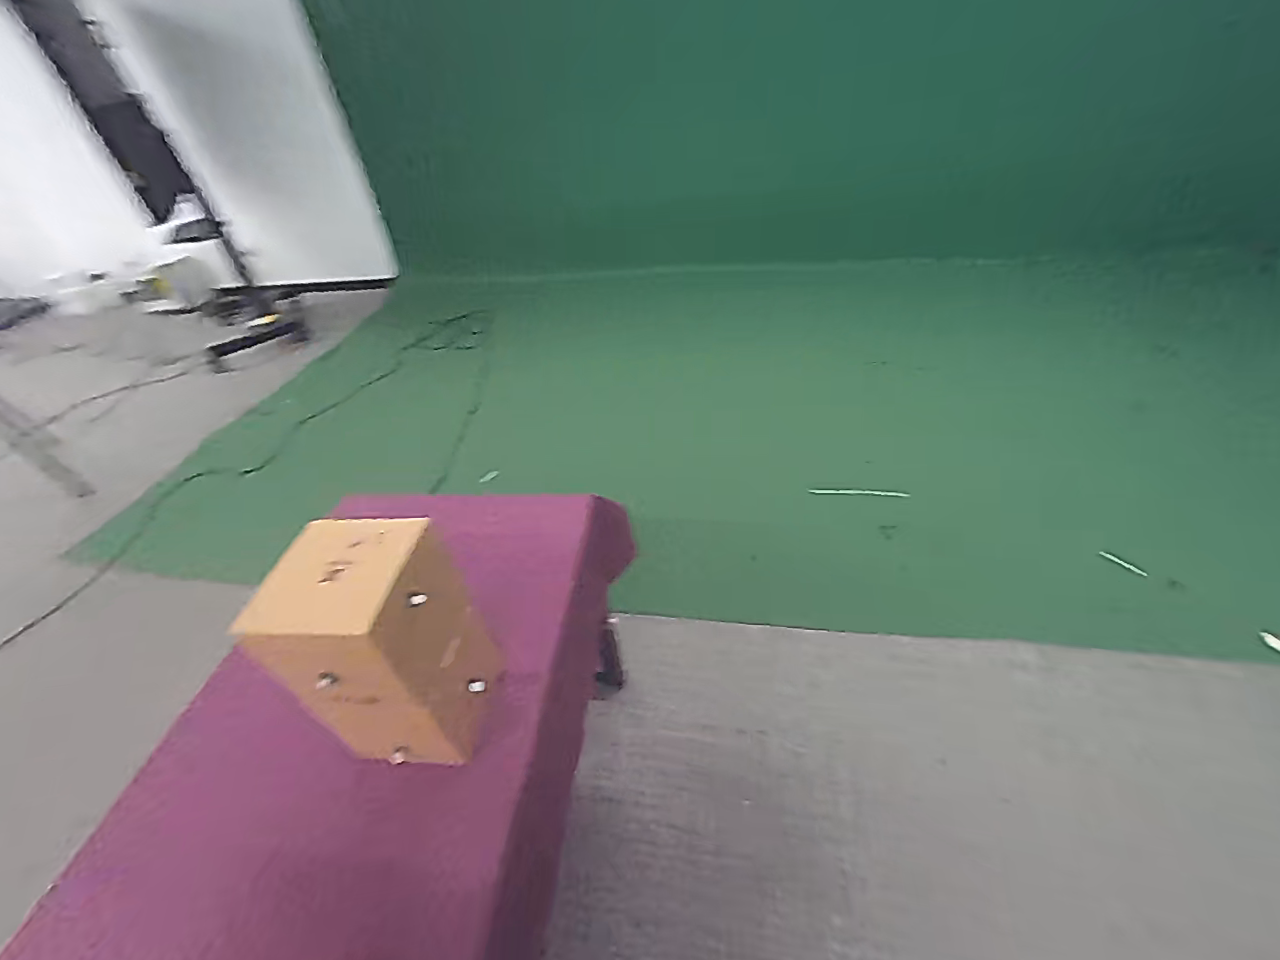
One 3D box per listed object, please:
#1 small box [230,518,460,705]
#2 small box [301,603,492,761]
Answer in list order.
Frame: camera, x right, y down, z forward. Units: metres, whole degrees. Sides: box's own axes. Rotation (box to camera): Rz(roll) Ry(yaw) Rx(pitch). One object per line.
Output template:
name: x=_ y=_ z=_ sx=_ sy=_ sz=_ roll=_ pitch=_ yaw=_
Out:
small box: x=-0.353 y=0.168 z=0.692 sx=0.168 sy=0.176 sz=0.179 roll=-1 pitch=41 yaw=8
small box: x=-0.339 y=0.295 z=0.798 sx=0.179 sy=0.176 sz=0.168 roll=0 pitch=41 yaw=8
